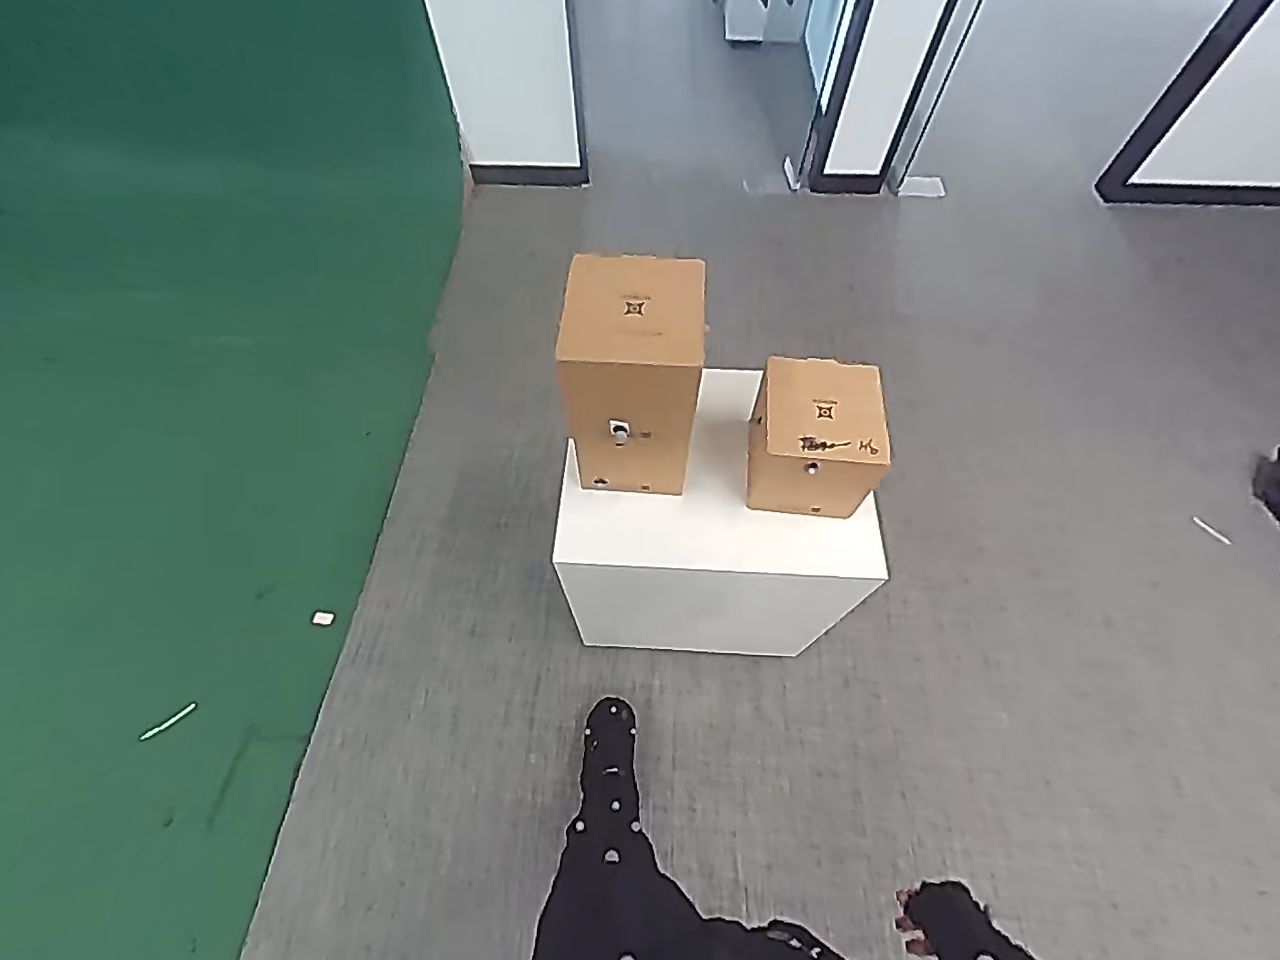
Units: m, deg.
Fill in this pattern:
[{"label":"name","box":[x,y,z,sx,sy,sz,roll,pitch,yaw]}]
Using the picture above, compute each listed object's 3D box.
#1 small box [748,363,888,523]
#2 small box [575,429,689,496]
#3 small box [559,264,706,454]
[{"label":"small box","box":[0.262,-0.054,0.836,0.168,0.176,0.179,5,60,5]},{"label":"small box","box":[-0.004,-0.089,0.857,0.168,0.176,0.179,4,60,1]},{"label":"small box","box":[-0.005,-0.155,0.709,0.168,0.176,0.179,2,62,2]}]
